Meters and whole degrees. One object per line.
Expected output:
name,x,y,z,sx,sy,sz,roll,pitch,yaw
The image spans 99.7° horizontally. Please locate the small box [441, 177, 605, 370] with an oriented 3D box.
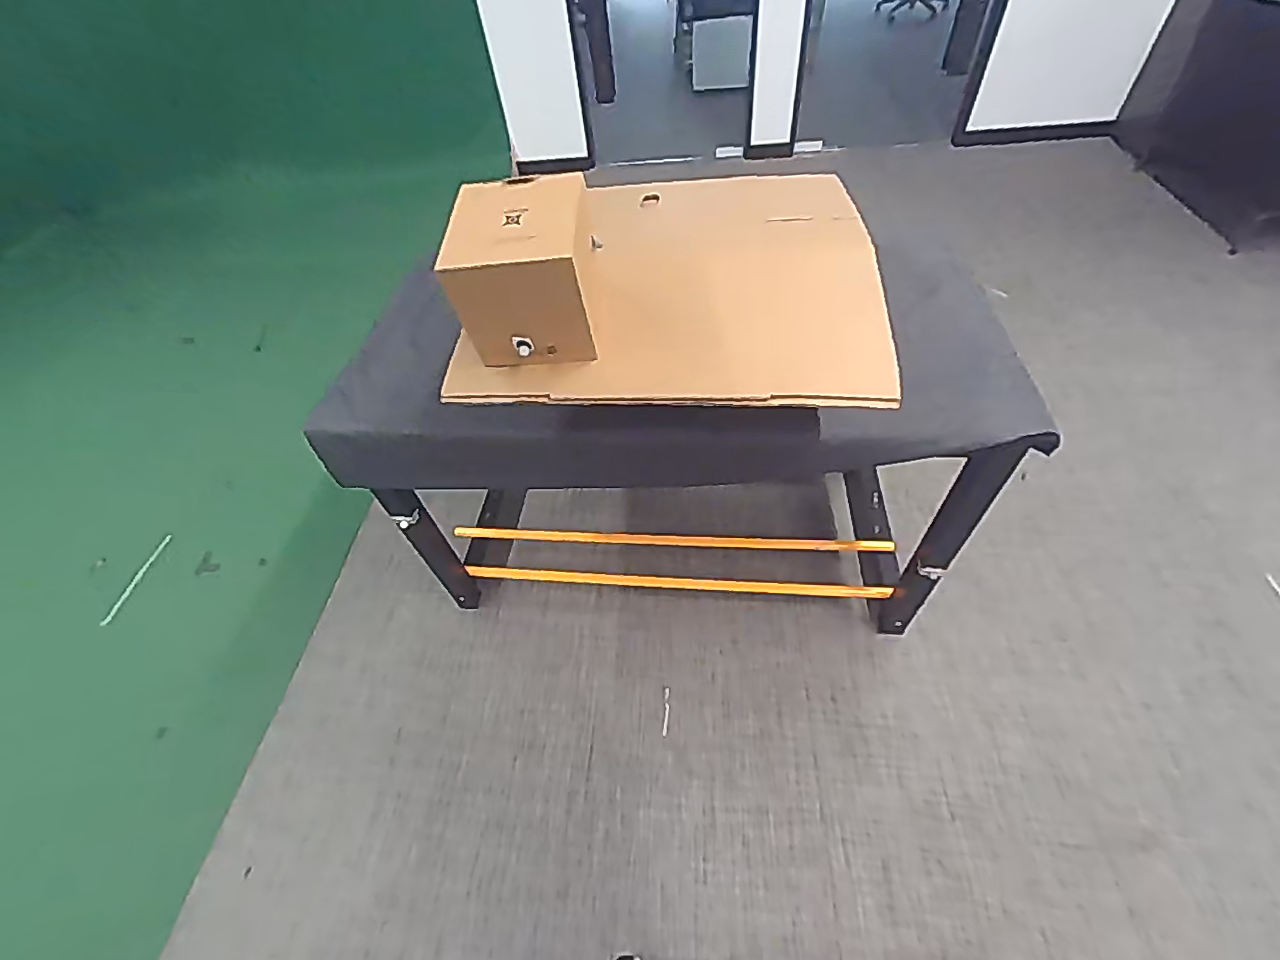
small box,-0.143,-0.274,0.734,0.168,0.176,0.179,-4,59,6
